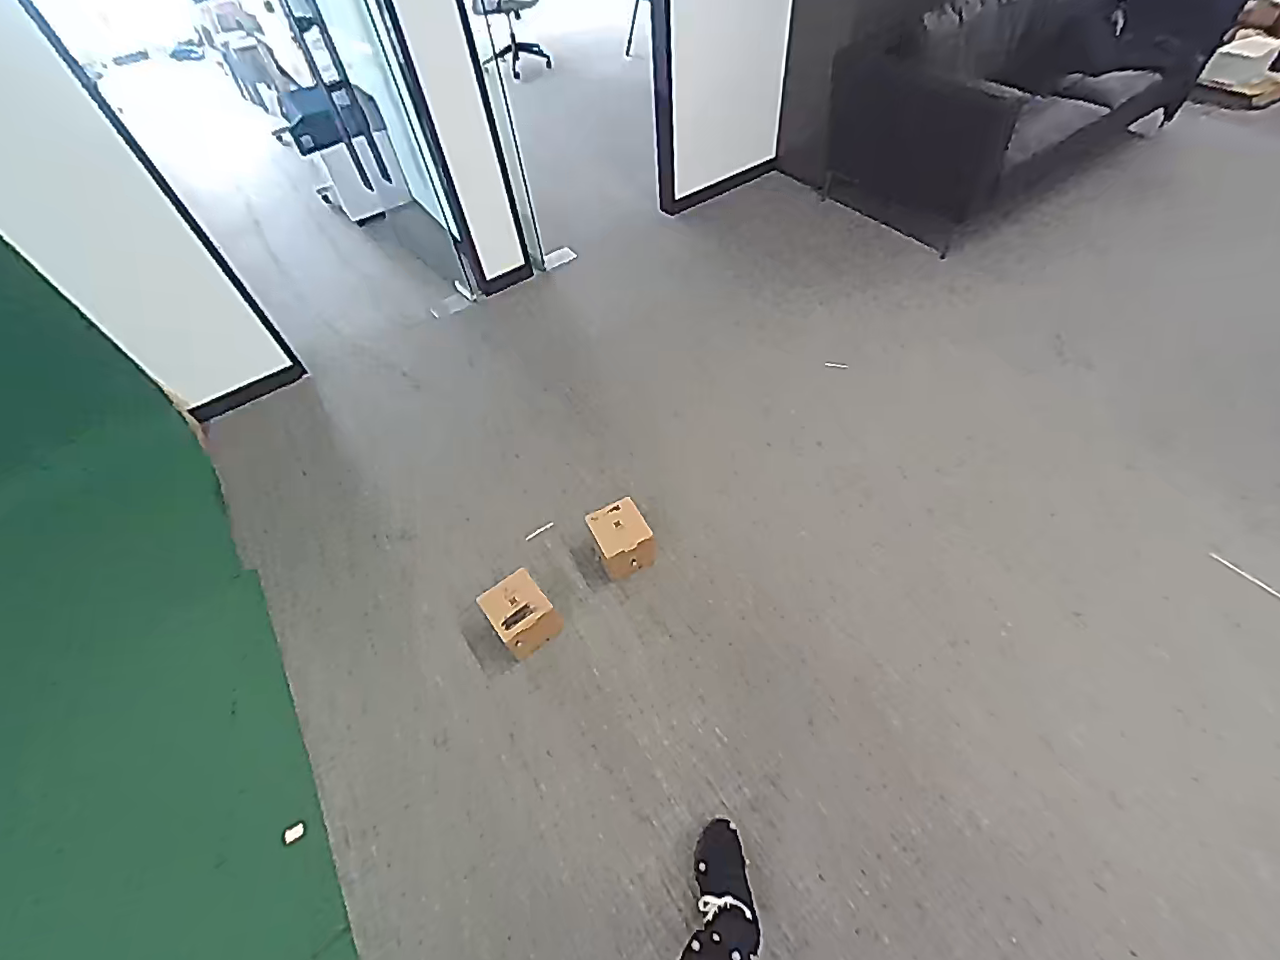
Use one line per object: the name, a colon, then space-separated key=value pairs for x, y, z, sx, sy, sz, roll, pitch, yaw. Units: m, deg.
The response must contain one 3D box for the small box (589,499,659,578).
small box: x=-0.047 y=0.198 z=1.759 sx=0.168 sy=0.176 sz=0.179 roll=-24 pitch=55 yaw=-13
